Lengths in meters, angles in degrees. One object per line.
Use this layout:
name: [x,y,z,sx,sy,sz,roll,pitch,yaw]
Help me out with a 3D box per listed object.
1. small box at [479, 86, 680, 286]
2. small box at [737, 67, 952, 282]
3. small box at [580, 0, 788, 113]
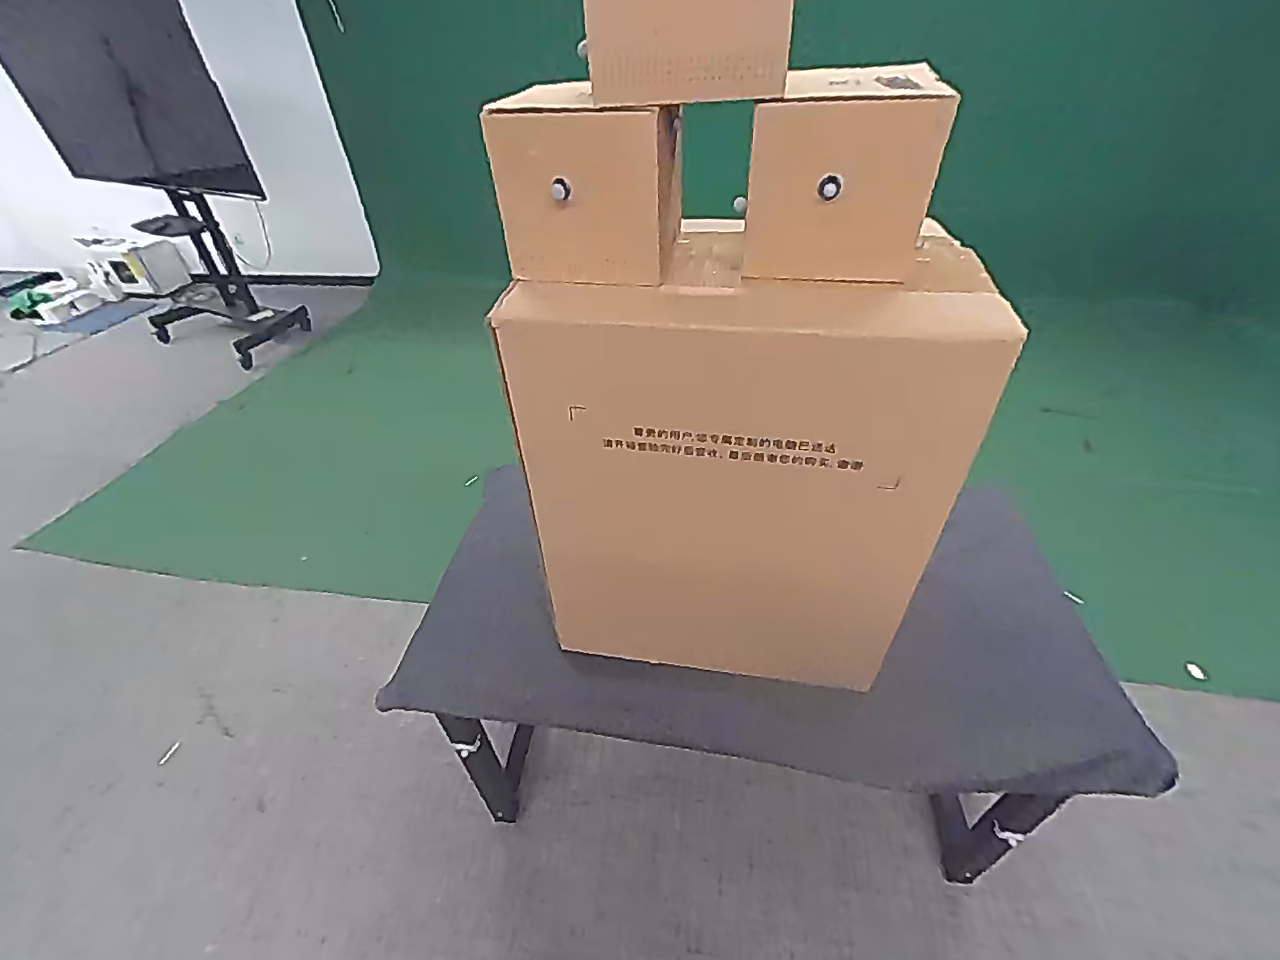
small box: [-0.052,-0.334,0.616,0.179,0.176,0.168,6,45,10]
small box: [0.205,-0.329,0.589,0.179,0.176,0.168,5,45,11]
small box: [0.039,-0.450,0.494,0.179,0.176,0.168,-2,42,3]
